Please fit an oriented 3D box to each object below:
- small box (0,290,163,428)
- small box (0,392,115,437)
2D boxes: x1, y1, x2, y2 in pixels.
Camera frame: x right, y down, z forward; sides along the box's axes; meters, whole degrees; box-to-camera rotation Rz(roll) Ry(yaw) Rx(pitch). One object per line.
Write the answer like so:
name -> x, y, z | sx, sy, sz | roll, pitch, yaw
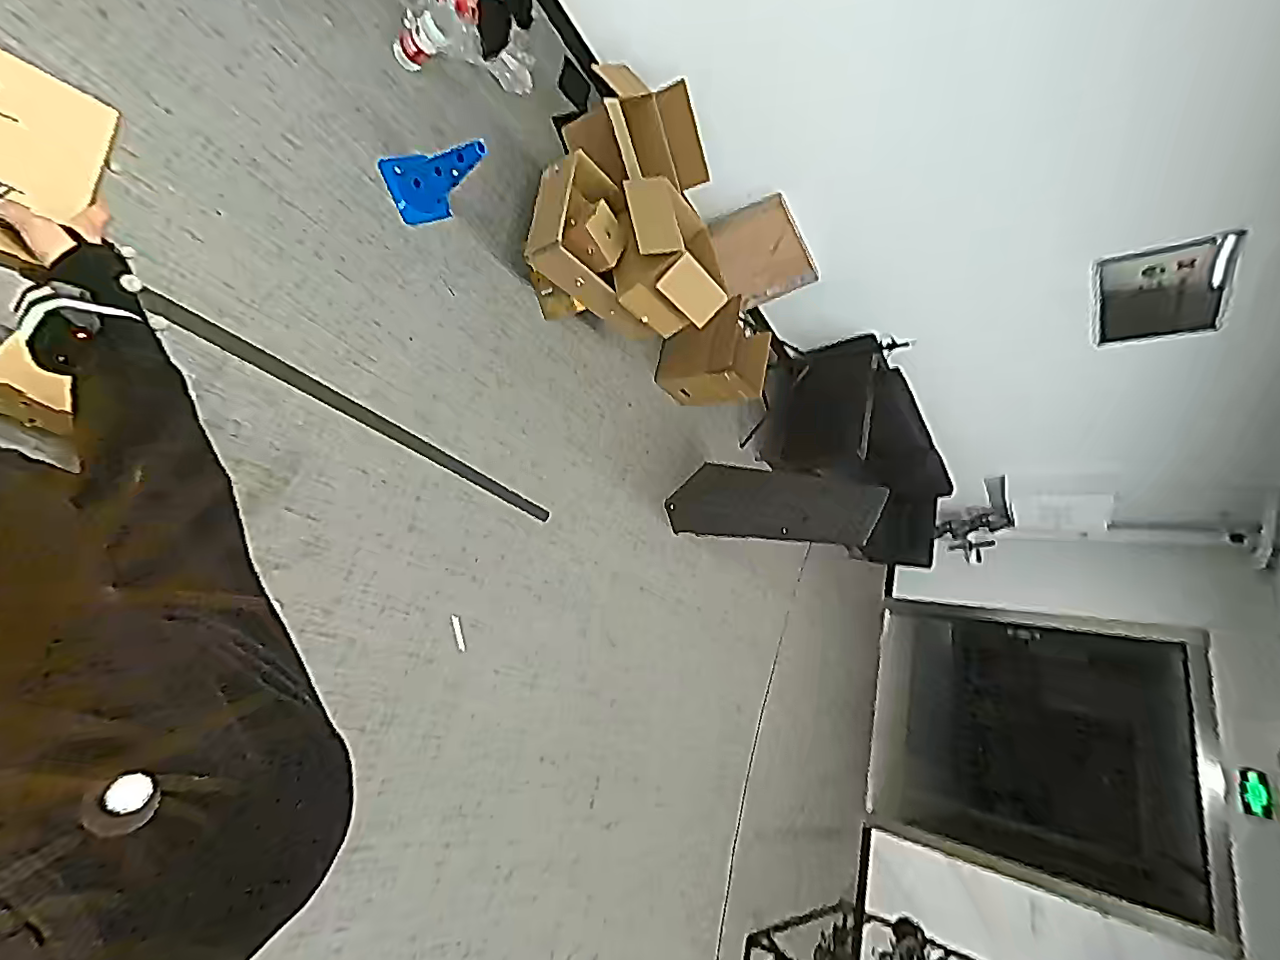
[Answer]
small box -> -1.040, -0.212, 0.989 | 0.168, 0.176, 0.179 | 43, 58, -43
small box -> -1.168, -0.197, 1.089 | 0.179, 0.176, 0.168 | 36, 62, -45
